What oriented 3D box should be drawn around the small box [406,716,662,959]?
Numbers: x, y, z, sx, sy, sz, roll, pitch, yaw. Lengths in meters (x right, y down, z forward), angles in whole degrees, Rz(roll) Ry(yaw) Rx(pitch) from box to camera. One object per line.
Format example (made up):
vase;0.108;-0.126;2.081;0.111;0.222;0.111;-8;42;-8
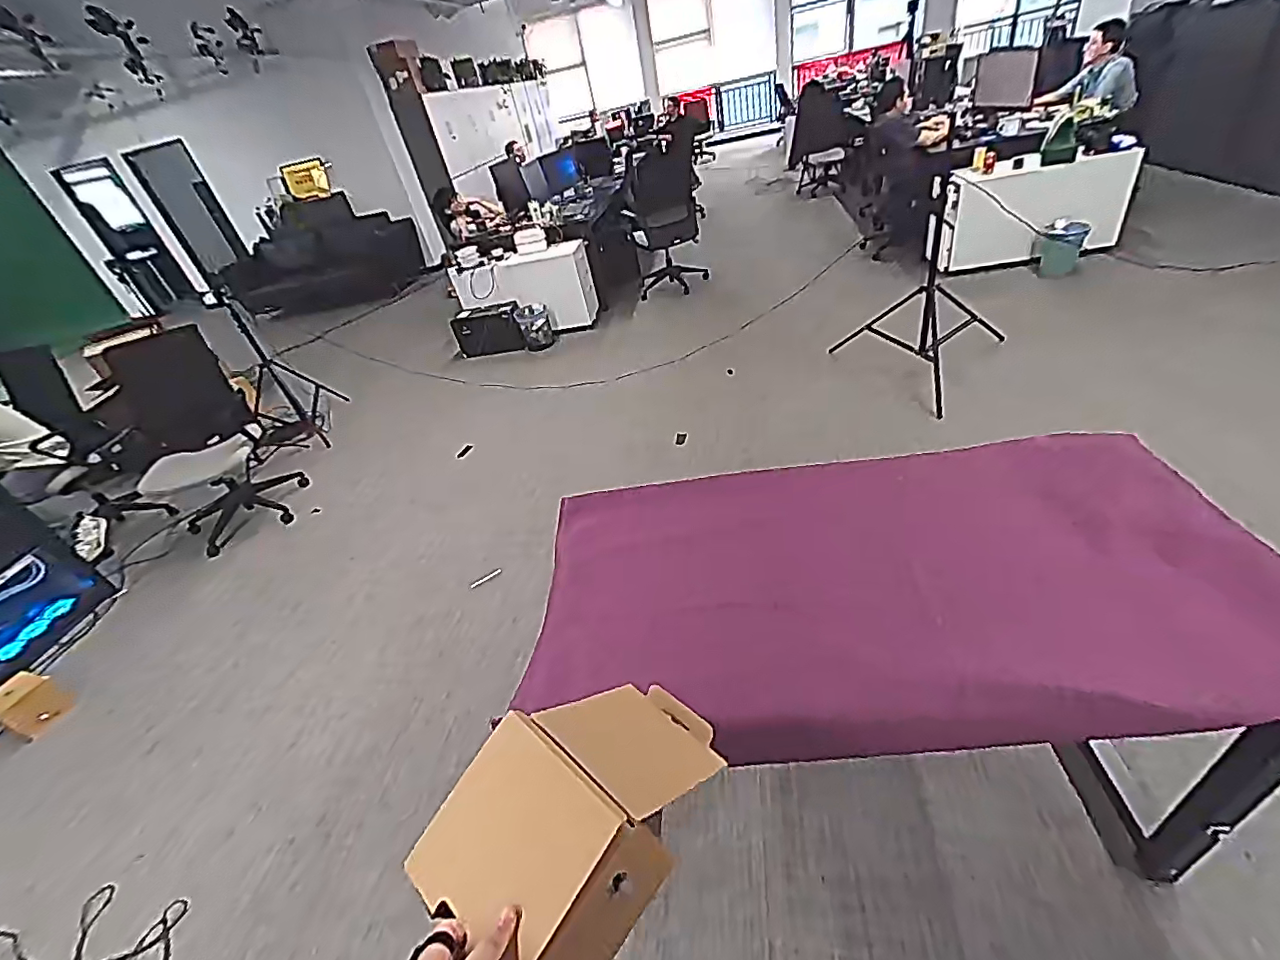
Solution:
small box;-0.095;0.393;0.563;0.168;0.176;0.179;25;60;38
